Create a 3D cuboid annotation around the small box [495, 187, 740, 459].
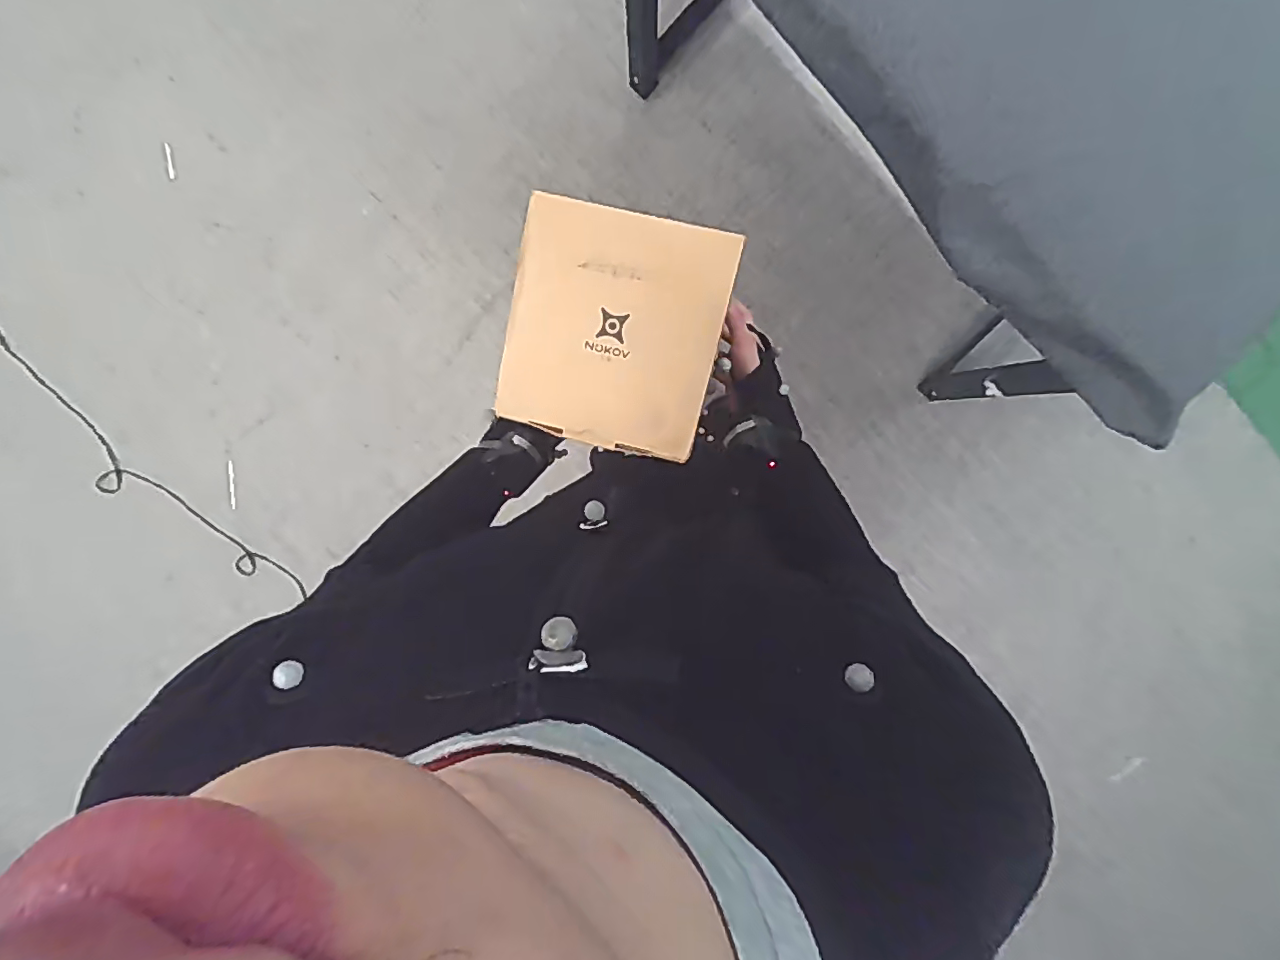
[{"bbox_3d":[-0.013,-0.134,0.495,0.168,0.176,0.179,14,102,3],"label":"small box"}]
